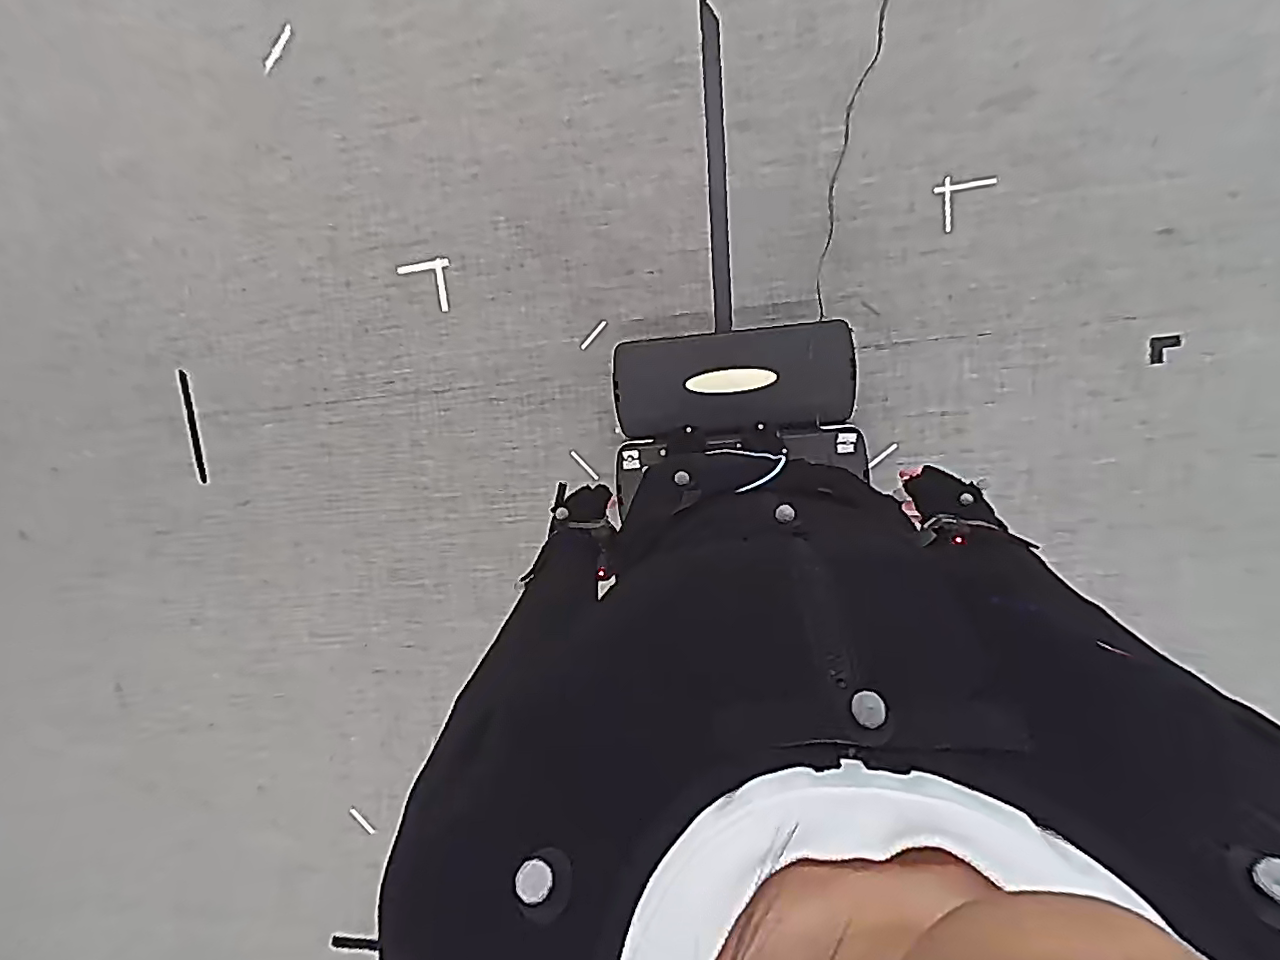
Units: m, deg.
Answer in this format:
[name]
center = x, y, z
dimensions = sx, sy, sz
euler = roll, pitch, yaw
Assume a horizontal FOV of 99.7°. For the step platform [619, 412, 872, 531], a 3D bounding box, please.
[step platform]
center = 0.283, -0.020, 1.525
dimensions = 0.684, 0.204, 0.286
euler = -5, 96, 10
